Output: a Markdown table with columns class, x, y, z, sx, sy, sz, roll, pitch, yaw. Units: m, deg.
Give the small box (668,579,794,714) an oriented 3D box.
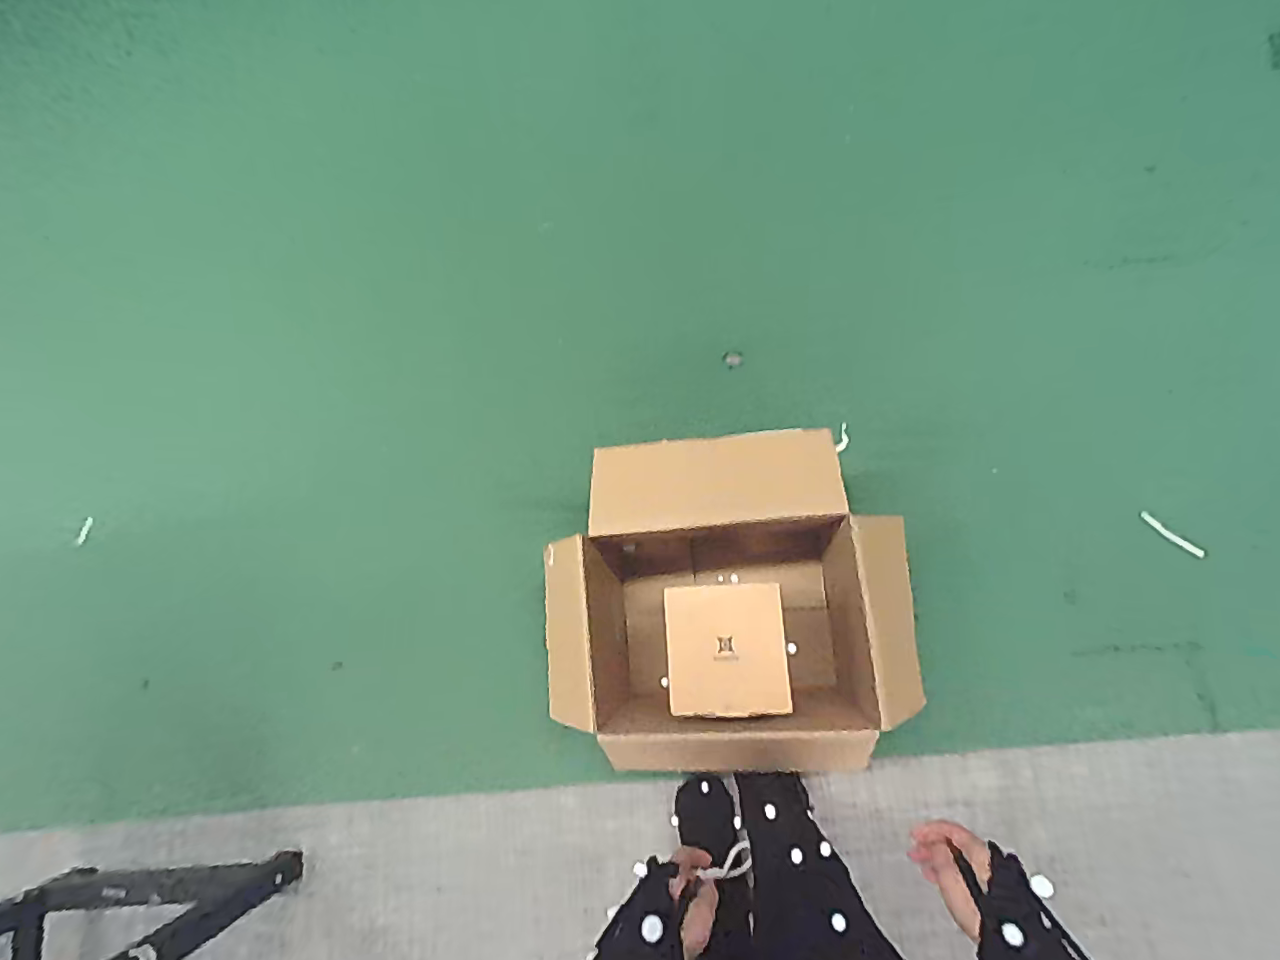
| class | x | y | z | sx | sy | sz | roll | pitch | yaw |
| --- | --- | --- | --- | --- | --- | --- | --- | --- | --- |
| small box | 0.133 | 0.246 | 0.826 | 0.168 | 0.176 | 0.179 | -5 | 79 | 8 |
